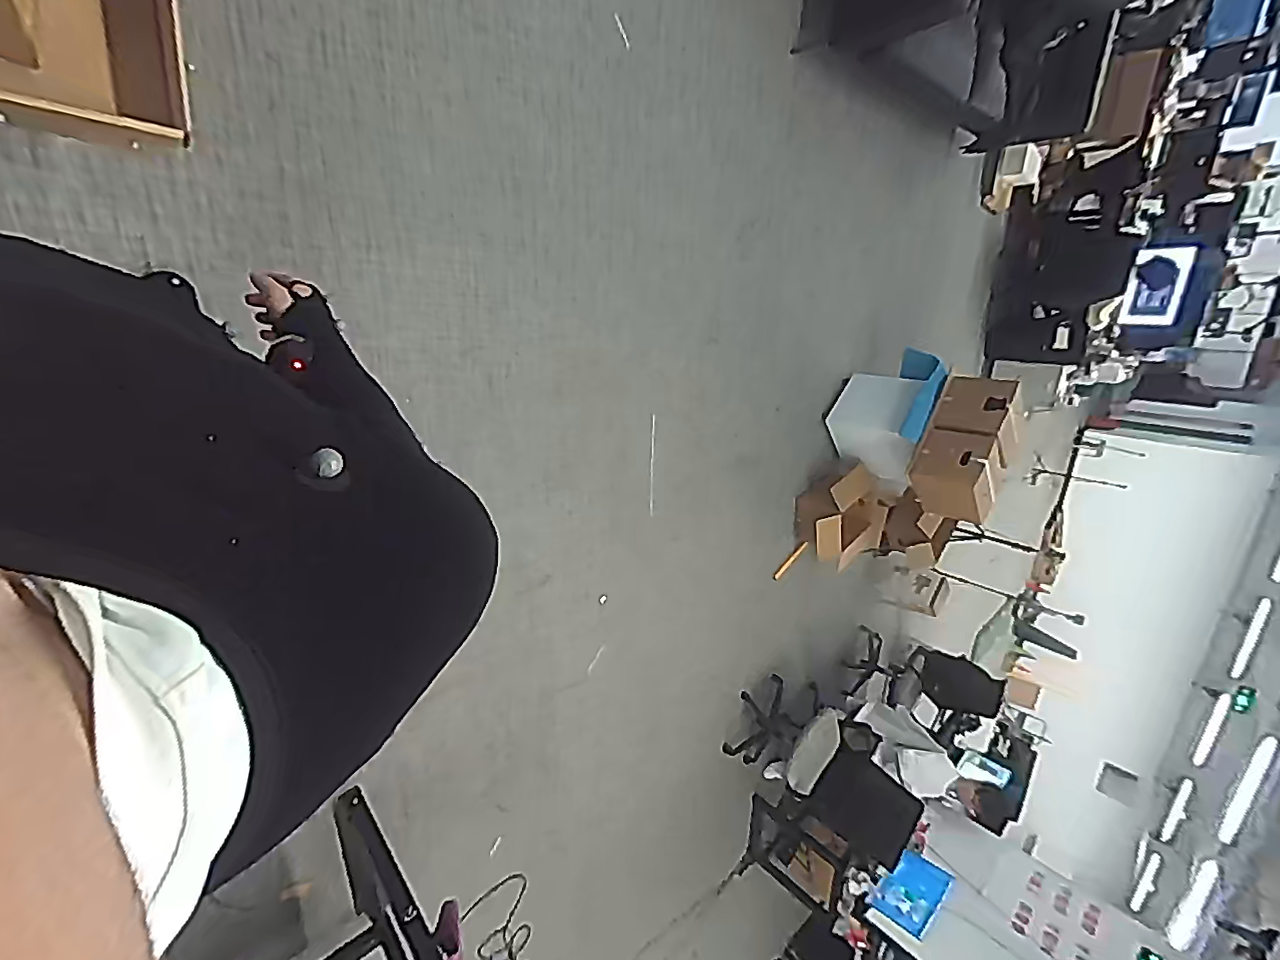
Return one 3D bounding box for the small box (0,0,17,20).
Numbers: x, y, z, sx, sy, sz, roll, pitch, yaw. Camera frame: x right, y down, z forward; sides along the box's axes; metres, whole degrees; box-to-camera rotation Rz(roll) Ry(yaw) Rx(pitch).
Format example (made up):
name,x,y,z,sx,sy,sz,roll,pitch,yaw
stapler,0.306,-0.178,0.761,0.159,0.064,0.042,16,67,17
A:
name,x,y,z,sx,sy,sz,roll,pitch,yaw
small box,-0.719,-0.595,0.510,0.168,0.176,0.179,1,102,-46
